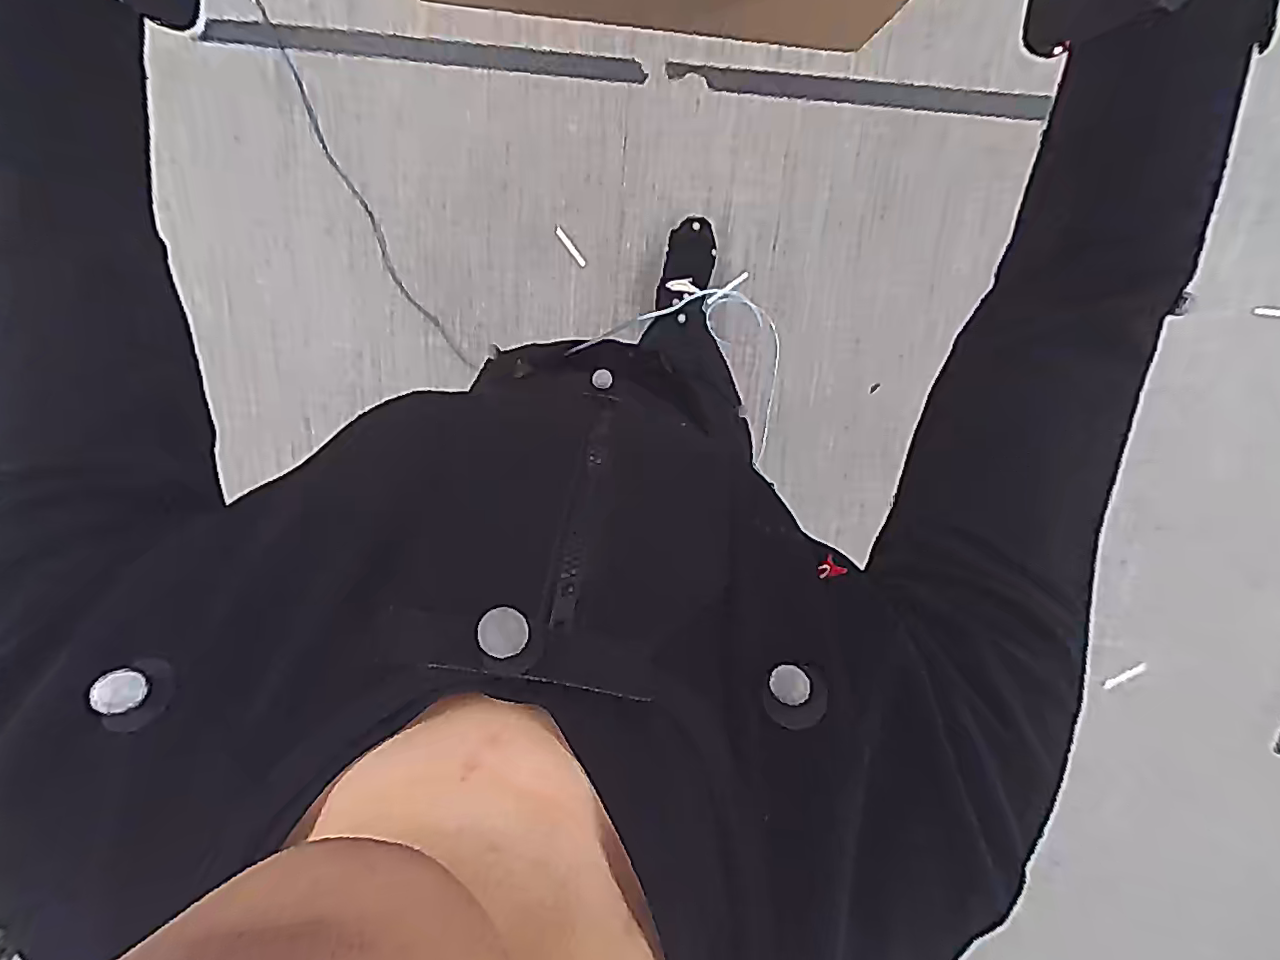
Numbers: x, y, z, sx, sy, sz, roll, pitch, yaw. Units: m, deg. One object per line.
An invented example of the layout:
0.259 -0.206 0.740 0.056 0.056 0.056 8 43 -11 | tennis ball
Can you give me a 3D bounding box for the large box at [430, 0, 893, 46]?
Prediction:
0.019 -0.510 0.312 0.408 0.320 0.320 4 111 -3 | large box
